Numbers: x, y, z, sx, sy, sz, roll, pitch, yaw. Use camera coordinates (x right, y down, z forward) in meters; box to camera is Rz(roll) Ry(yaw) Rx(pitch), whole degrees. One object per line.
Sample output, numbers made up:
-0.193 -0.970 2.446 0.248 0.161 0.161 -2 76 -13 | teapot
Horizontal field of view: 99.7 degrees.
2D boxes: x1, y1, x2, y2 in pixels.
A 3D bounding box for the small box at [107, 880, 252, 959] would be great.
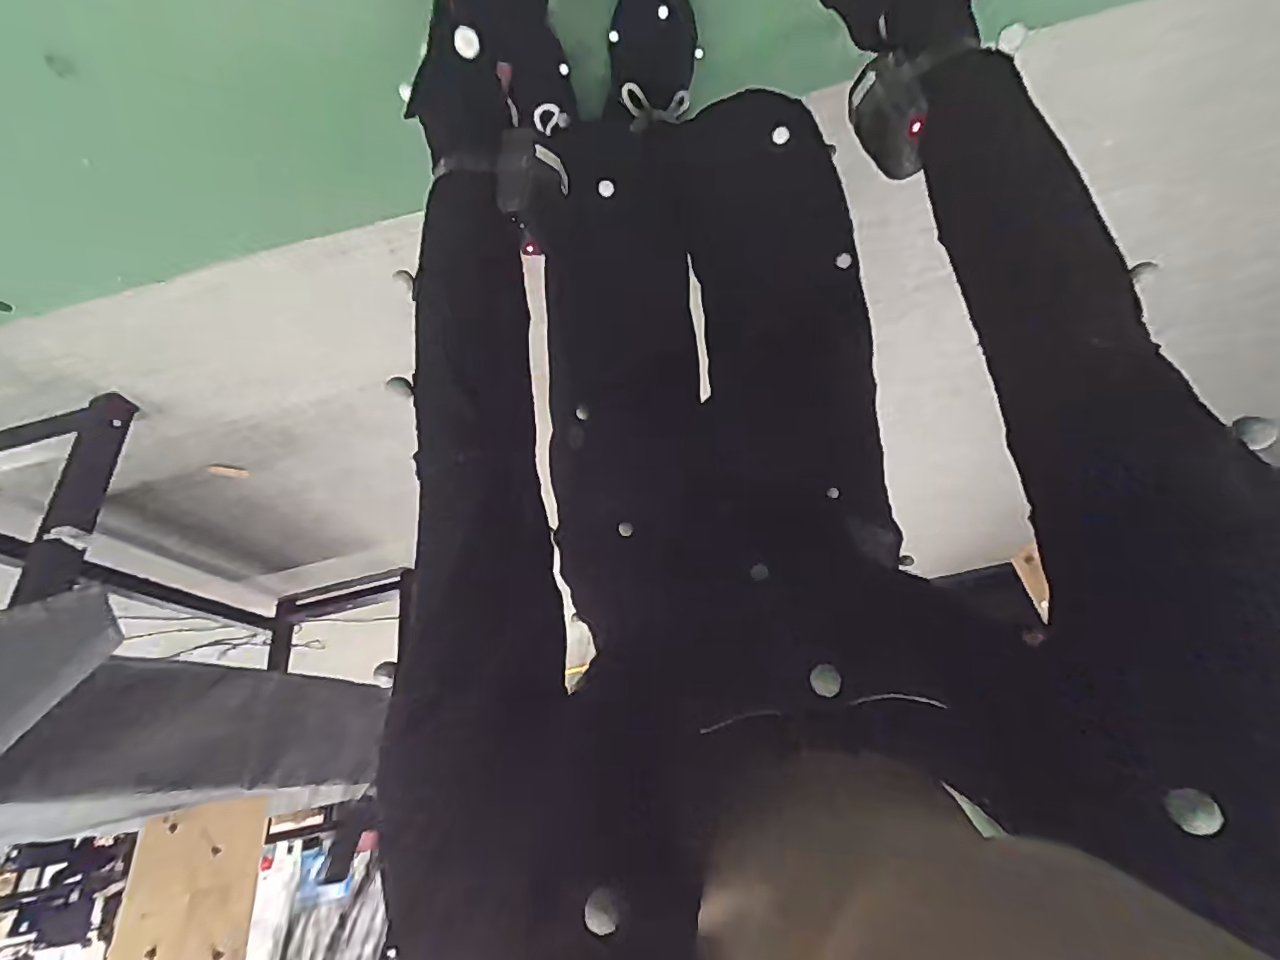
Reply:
-0.957 0.959 1.123 0.168 0.176 0.179 -14 150 5 | small box
